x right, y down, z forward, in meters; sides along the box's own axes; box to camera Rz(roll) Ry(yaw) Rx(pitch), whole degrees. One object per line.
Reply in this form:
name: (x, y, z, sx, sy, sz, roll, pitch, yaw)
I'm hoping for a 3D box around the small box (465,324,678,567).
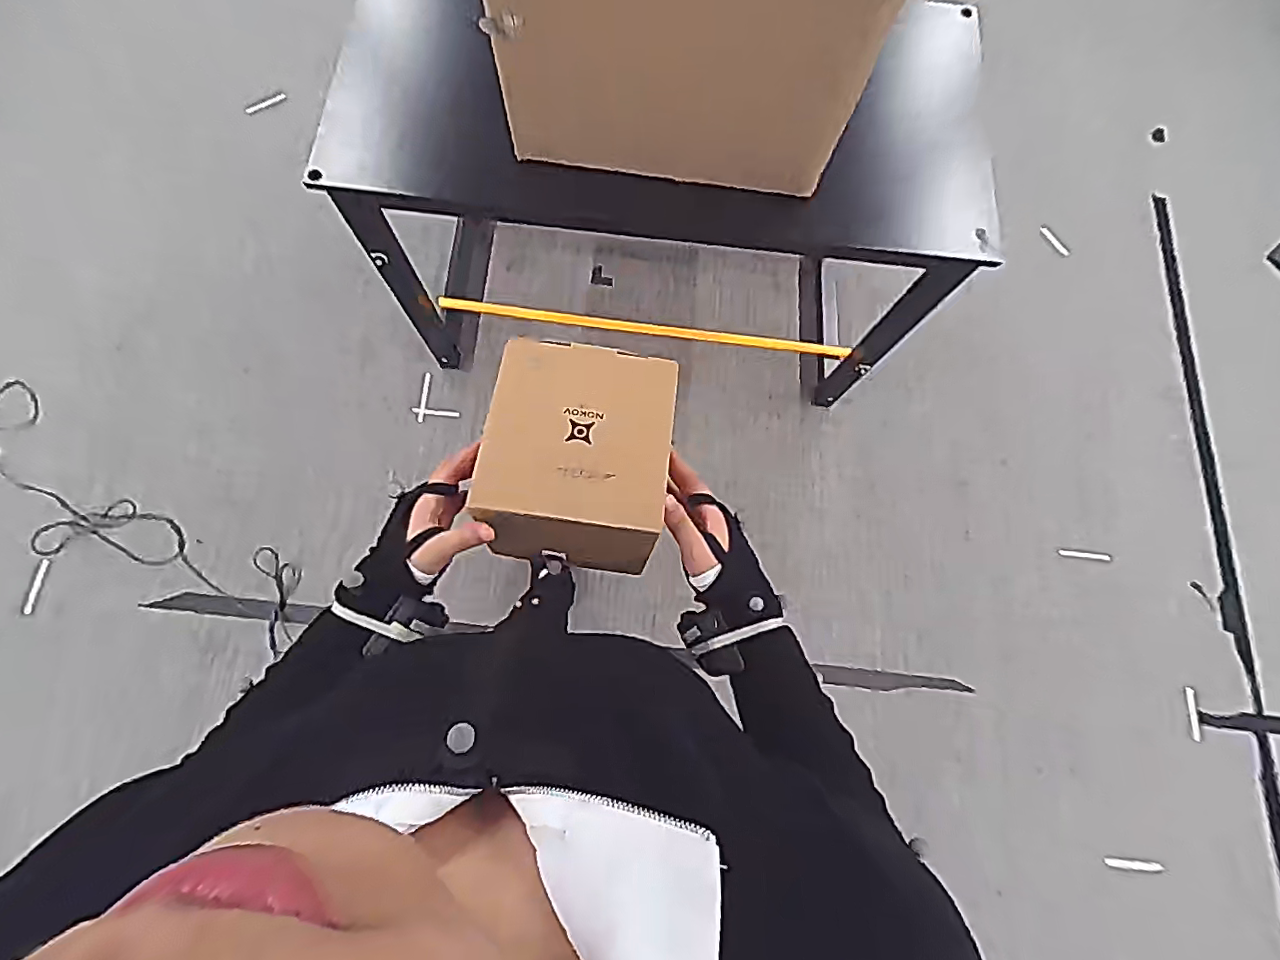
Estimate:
small box: (-0.063, -0.025, 0.549, 0.168, 0.176, 0.179, 8, 67, -3)
